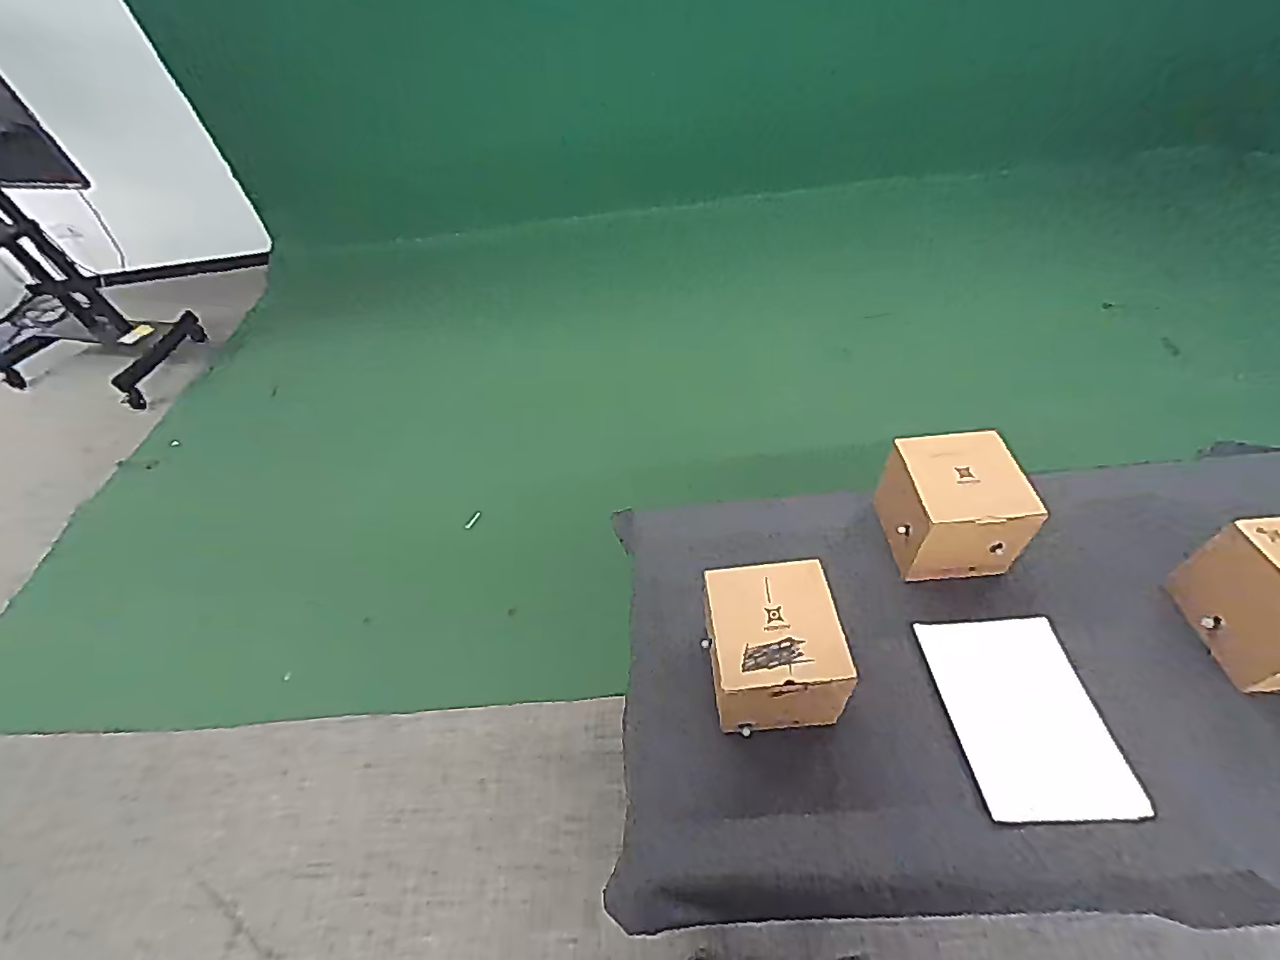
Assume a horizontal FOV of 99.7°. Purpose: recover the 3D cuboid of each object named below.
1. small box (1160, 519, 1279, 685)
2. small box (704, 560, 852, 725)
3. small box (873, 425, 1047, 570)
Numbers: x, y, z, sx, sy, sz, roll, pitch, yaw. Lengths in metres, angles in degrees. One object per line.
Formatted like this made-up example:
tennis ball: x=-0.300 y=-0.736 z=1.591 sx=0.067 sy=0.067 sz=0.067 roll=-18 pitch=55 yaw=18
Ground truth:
small box: x=0.888 y=0.168 z=0.734 sx=0.168 sy=0.176 sz=0.179 roll=-5 pitch=51 yaw=4
small box: x=0.185 y=0.239 z=0.776 sx=0.168 sy=0.176 sz=0.179 roll=-6 pitch=49 yaw=2
small box: x=0.504 y=0.036 z=0.884 sx=0.168 sy=0.176 sz=0.179 roll=-5 pitch=49 yaw=3
